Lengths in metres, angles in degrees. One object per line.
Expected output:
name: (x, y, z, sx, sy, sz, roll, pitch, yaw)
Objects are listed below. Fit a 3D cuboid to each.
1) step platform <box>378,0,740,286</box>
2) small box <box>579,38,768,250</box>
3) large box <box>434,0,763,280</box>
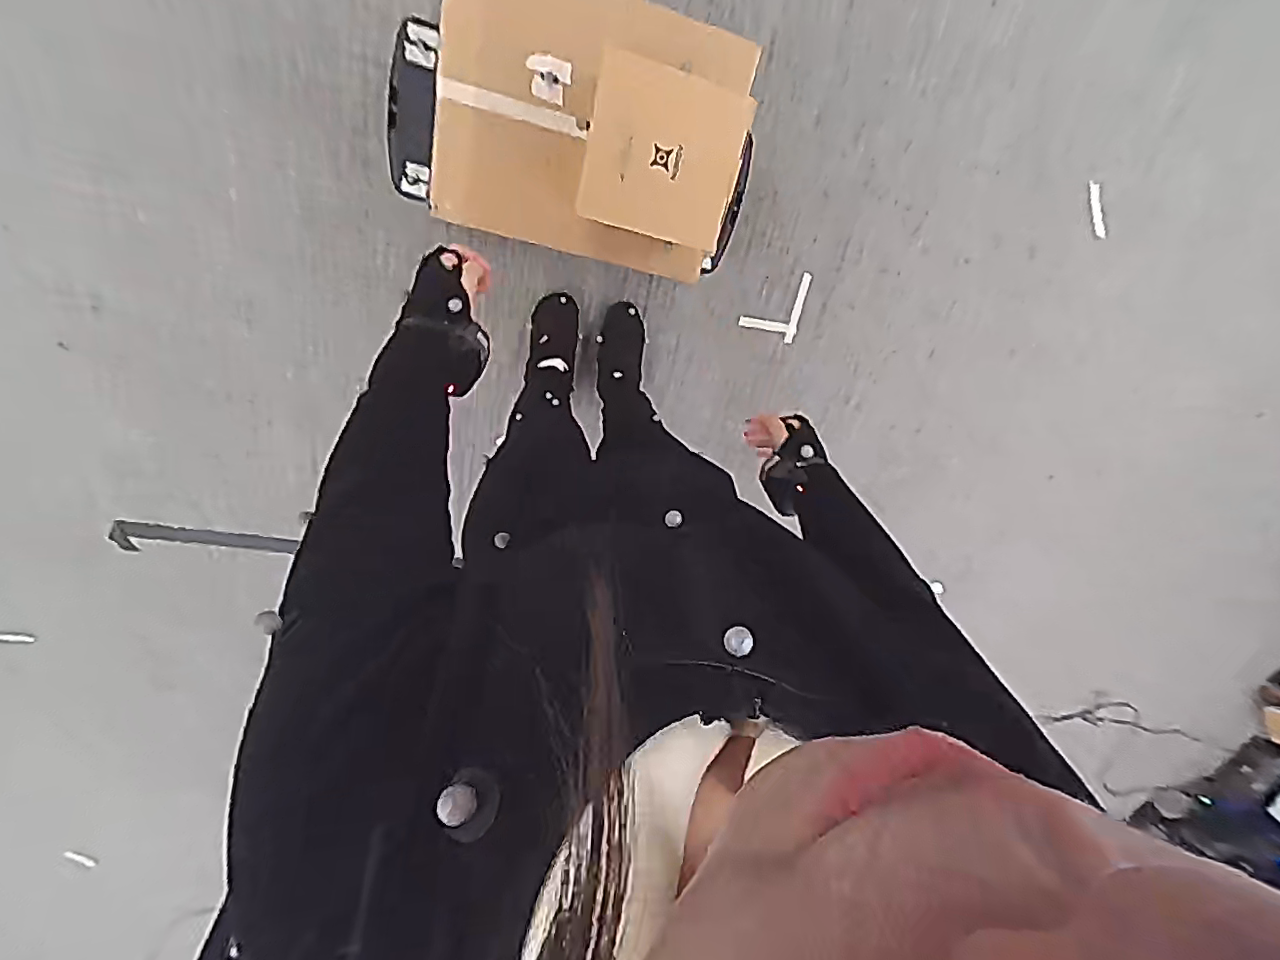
step platform: (-0.141, -0.630, 1.075, 0.684, 0.204, 0.286, 14, 115, -14)
small box: (0.026, -0.401, 0.668, 0.179, 0.176, 0.168, 11, 116, -13)
large box: (-0.077, -0.539, 0.861, 0.408, 0.320, 0.320, 10, 115, -12)
